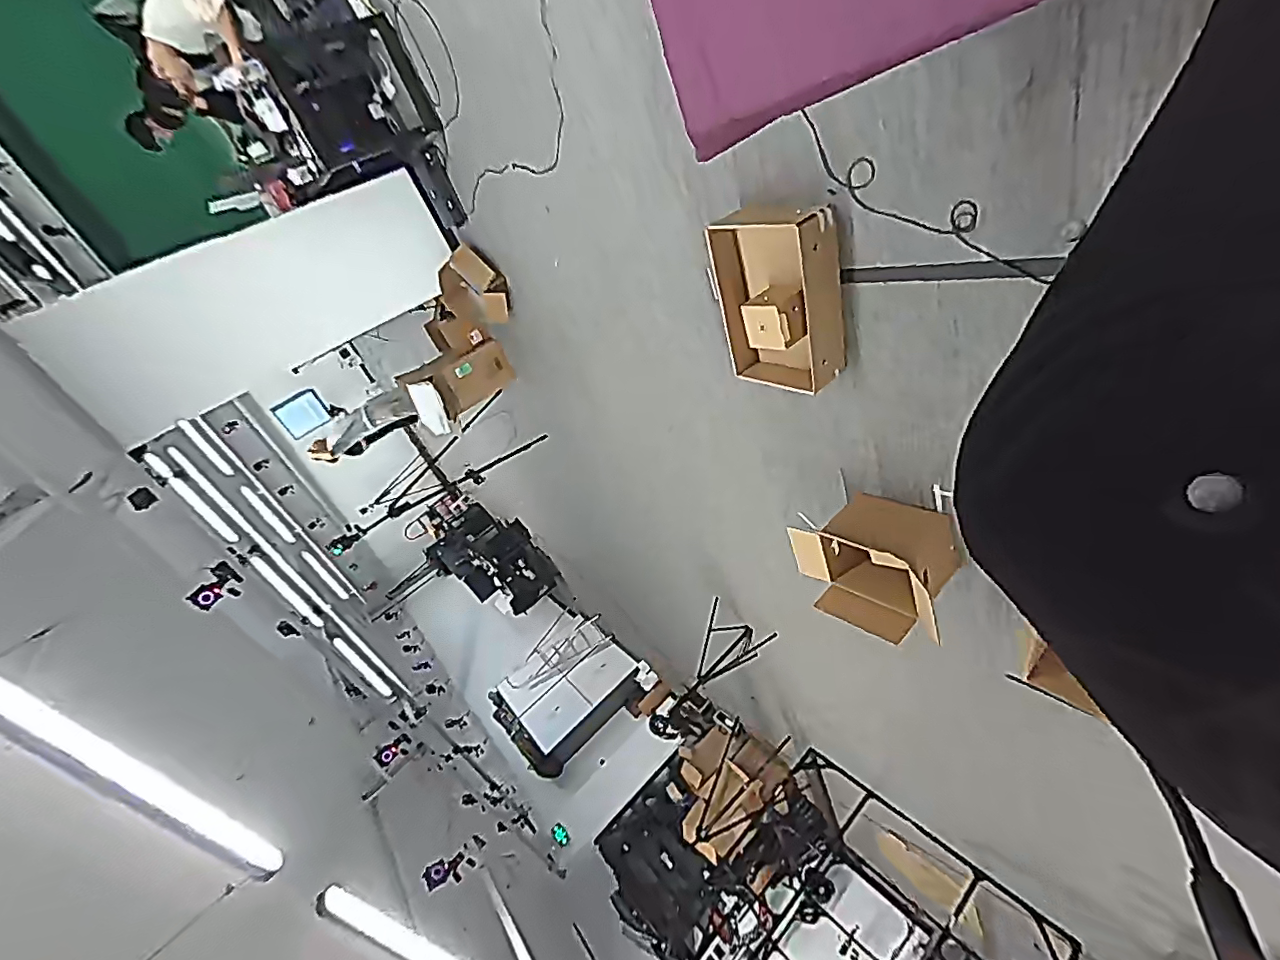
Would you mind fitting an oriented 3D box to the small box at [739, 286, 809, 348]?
[{"bbox_3d":[0.496,-0.598,1.970,0.179,0.176,0.168,23,142,49],"label":"small box"}]
